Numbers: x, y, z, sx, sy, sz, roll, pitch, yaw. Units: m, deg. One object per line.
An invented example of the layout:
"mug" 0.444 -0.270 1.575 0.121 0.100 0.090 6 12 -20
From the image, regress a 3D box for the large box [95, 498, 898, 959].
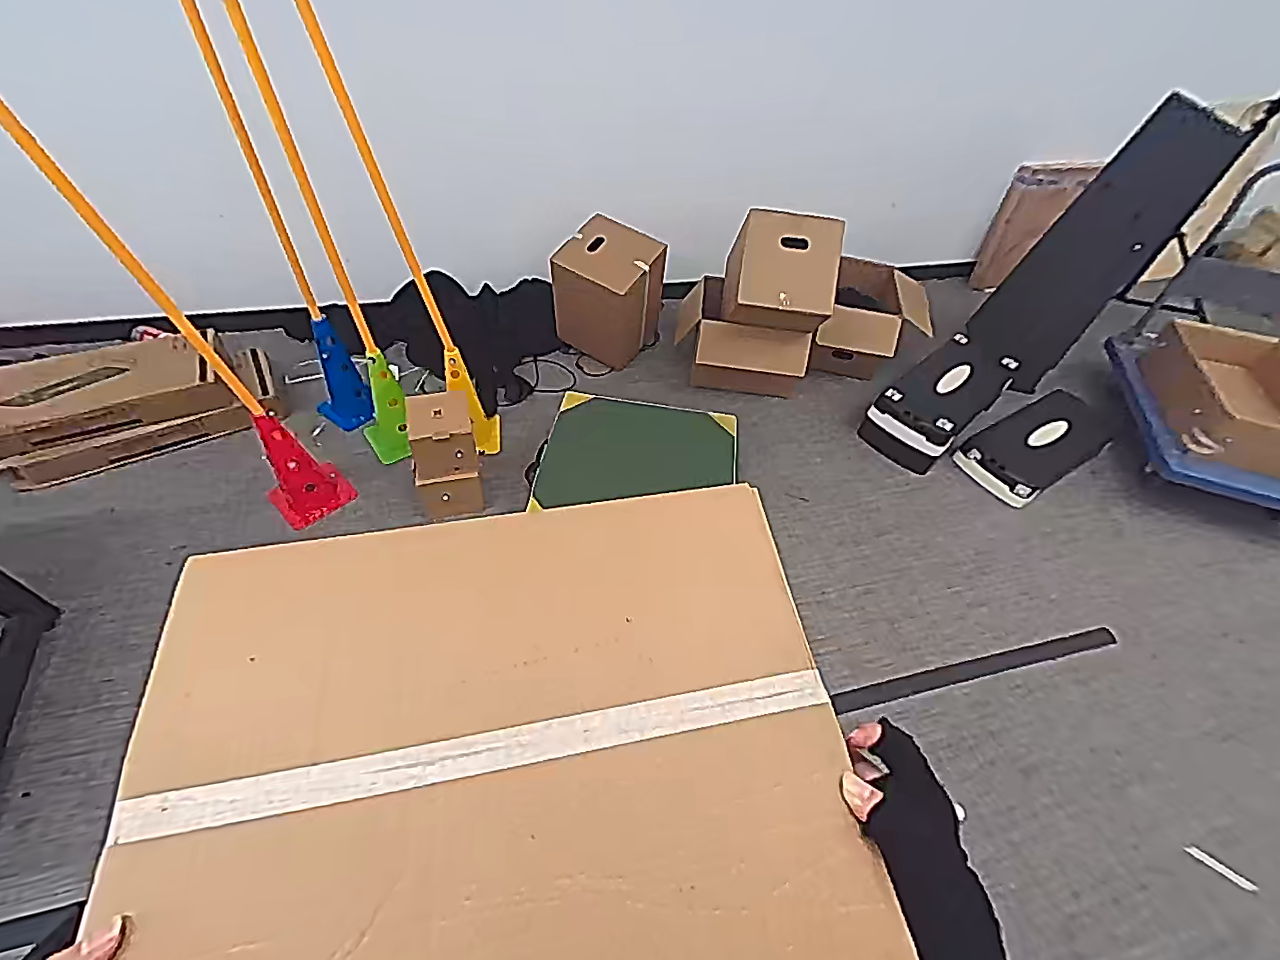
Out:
"large box" -0.089 0.246 0.450 0.408 0.320 0.320 -7 58 -8
